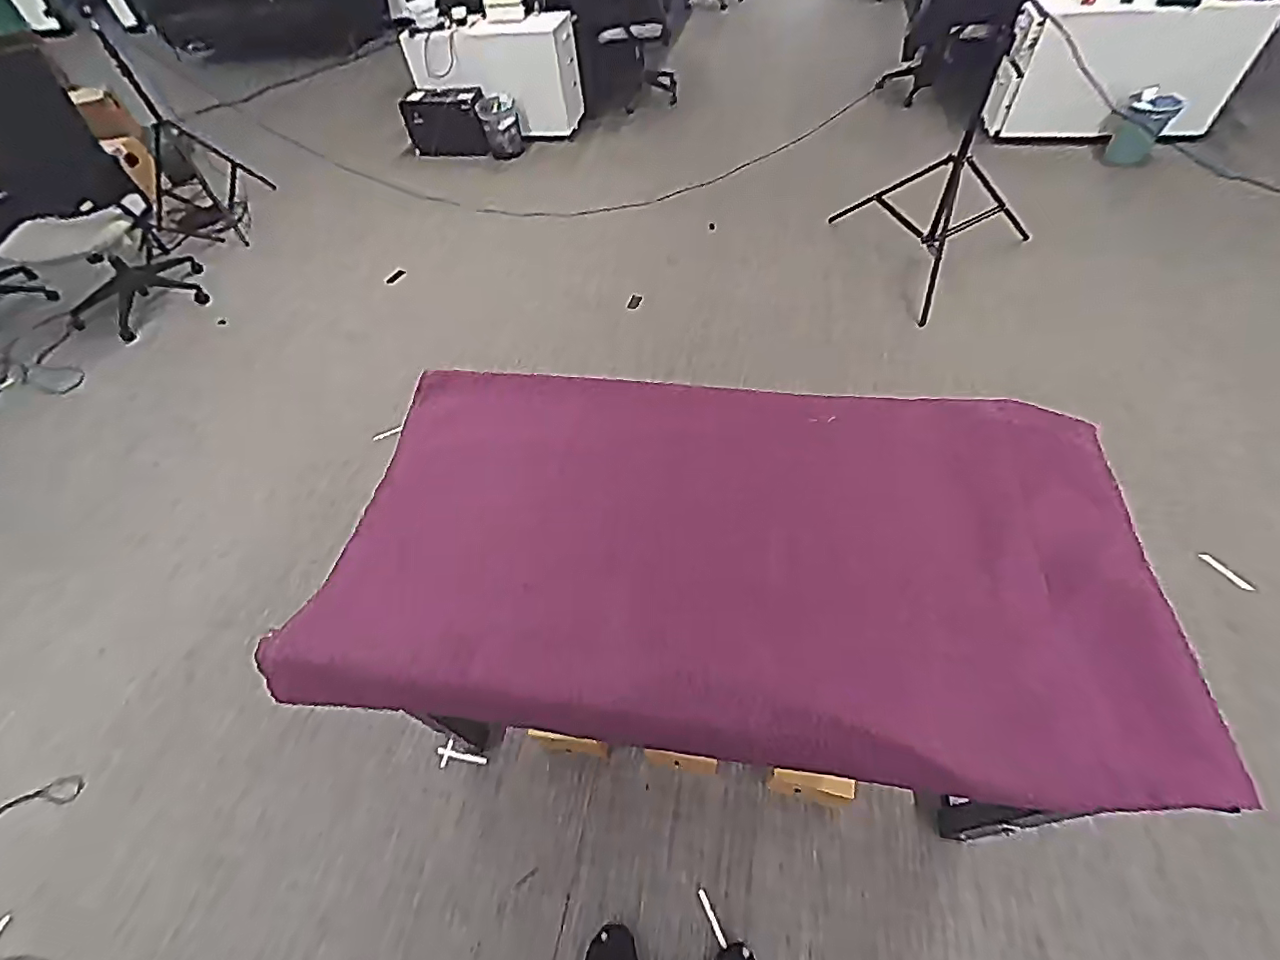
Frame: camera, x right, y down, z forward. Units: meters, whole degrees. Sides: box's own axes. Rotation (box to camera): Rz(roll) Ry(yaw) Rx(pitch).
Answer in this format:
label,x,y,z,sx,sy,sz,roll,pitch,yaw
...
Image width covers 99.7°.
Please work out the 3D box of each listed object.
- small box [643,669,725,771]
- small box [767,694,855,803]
label,x,y,z,sx,sy,sz,roll,pitch,yaw
small box,0.111,0.583,1.306,0.168,0.176,0.179,7,53,10
small box,0.392,0.625,1.250,0.168,0.176,0.179,9,53,13
